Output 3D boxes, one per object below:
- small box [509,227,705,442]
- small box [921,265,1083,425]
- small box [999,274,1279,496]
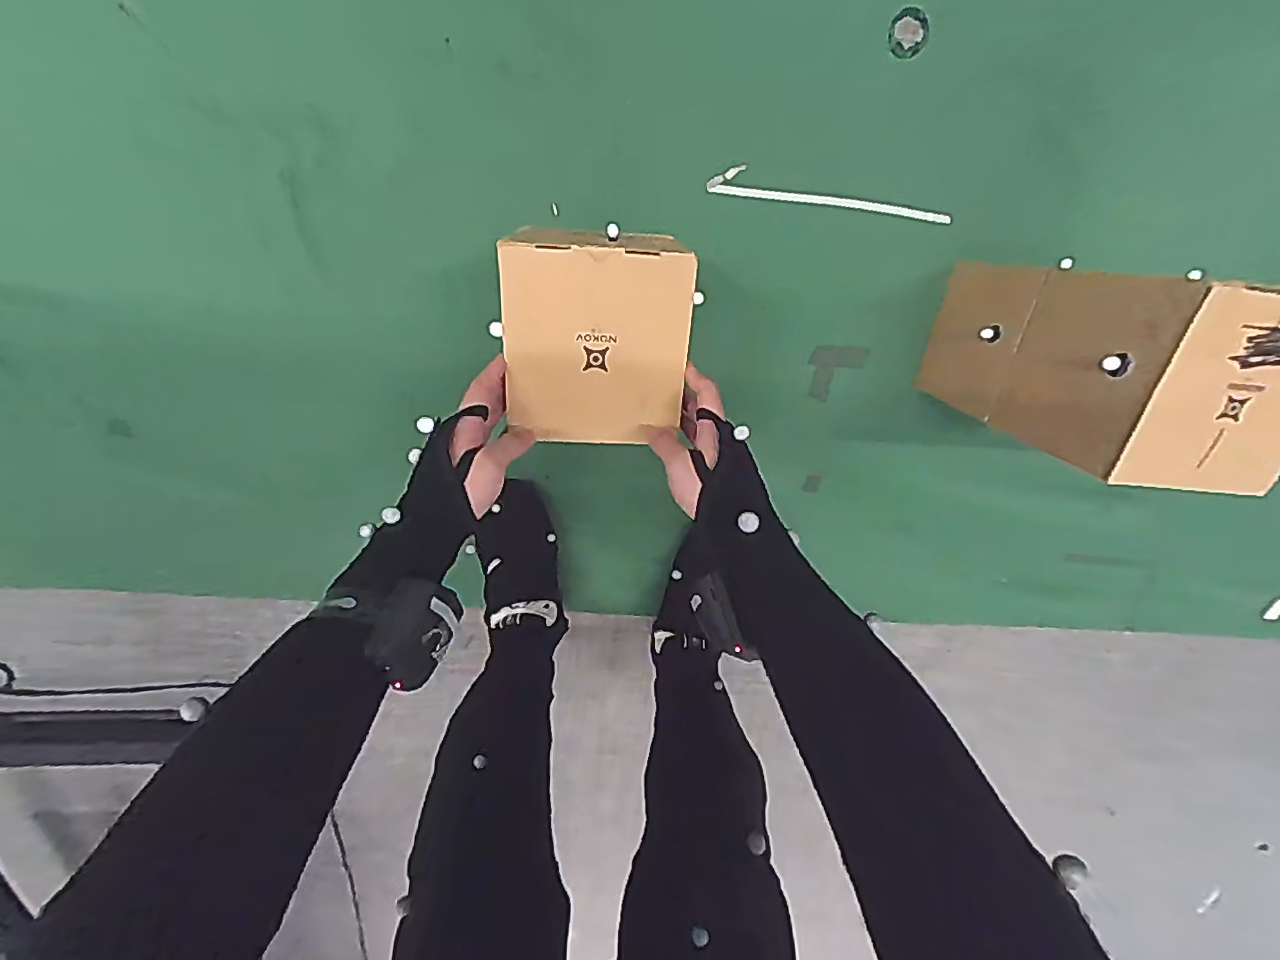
[{"bbox_3d":[-0.036,-0.155,0.555,0.168,0.176,0.179,2,117,-5],"label":"small box"},{"bbox_3d":[0.496,-0.170,0.690,0.168,0.176,0.179,6,114,-7],"label":"small box"},{"bbox_3d":[0.510,-0.103,0.541,0.168,0.176,0.179,5,114,-7],"label":"small box"}]
